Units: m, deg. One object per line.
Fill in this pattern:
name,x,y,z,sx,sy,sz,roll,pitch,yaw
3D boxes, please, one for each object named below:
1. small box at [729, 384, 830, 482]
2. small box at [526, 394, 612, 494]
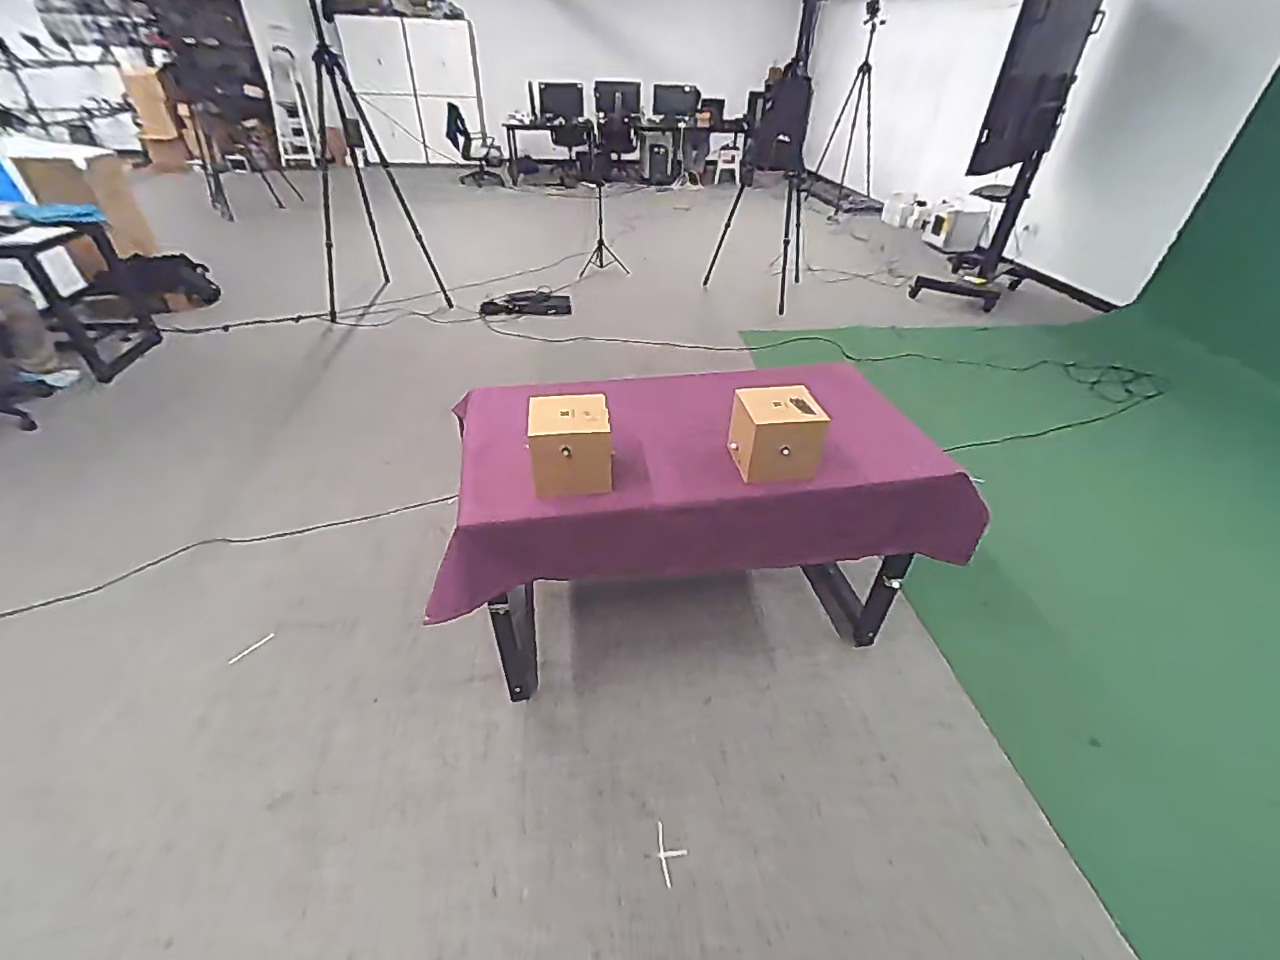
small box,0.324,-0.112,1.290,0.179,0.176,0.168,-5,38,-6
small box,-0.158,-0.081,1.233,0.179,0.176,0.168,-3,39,-6
